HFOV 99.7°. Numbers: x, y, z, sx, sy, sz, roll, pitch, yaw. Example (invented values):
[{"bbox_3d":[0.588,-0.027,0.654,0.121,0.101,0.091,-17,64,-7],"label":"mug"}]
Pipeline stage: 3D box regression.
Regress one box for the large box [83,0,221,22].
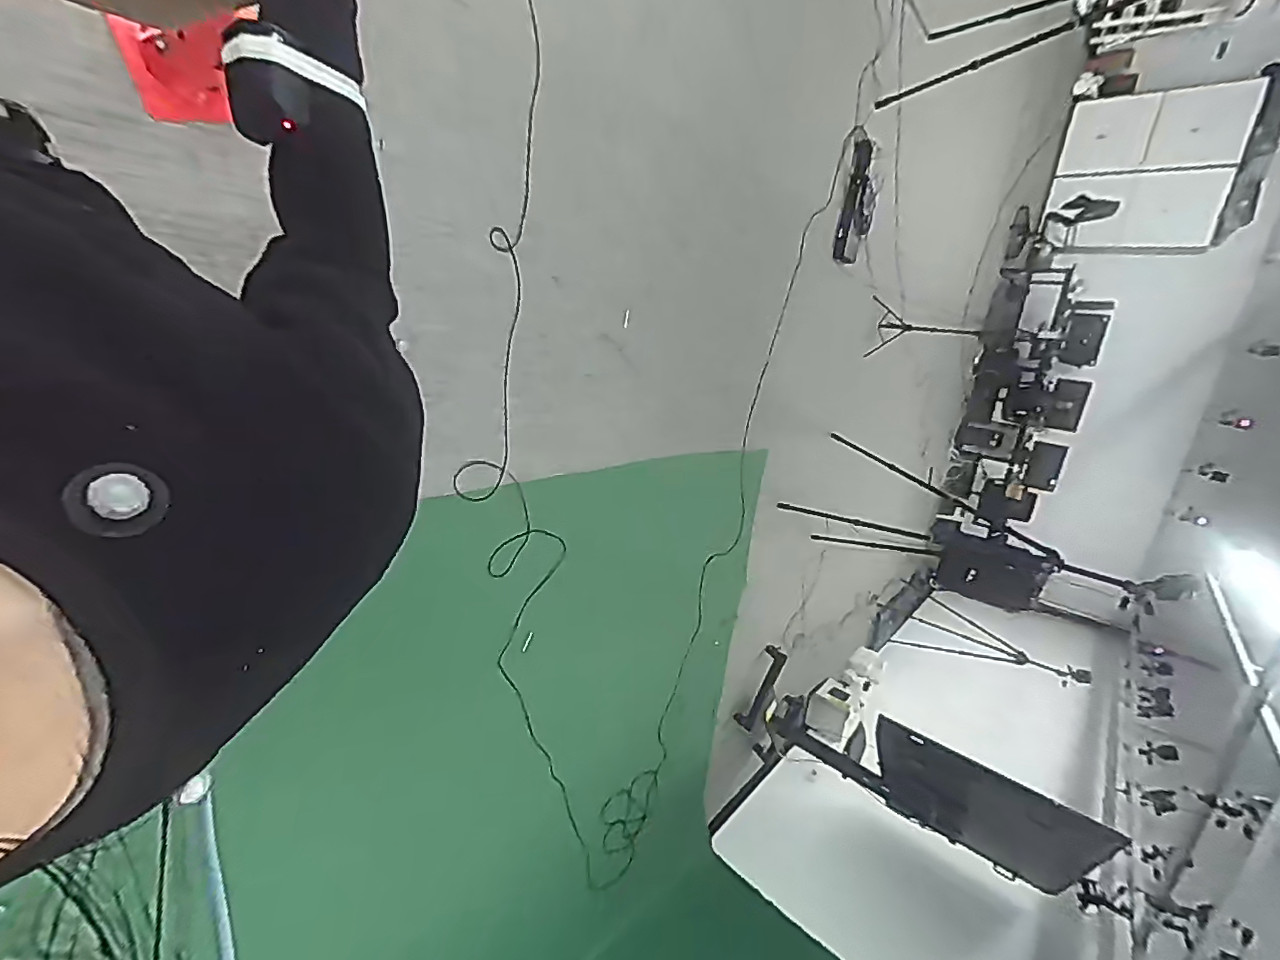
[{"bbox_3d":[-0.499,-0.514,0.286,0.408,0.320,0.320,-16,124,-45],"label":"large box"}]
